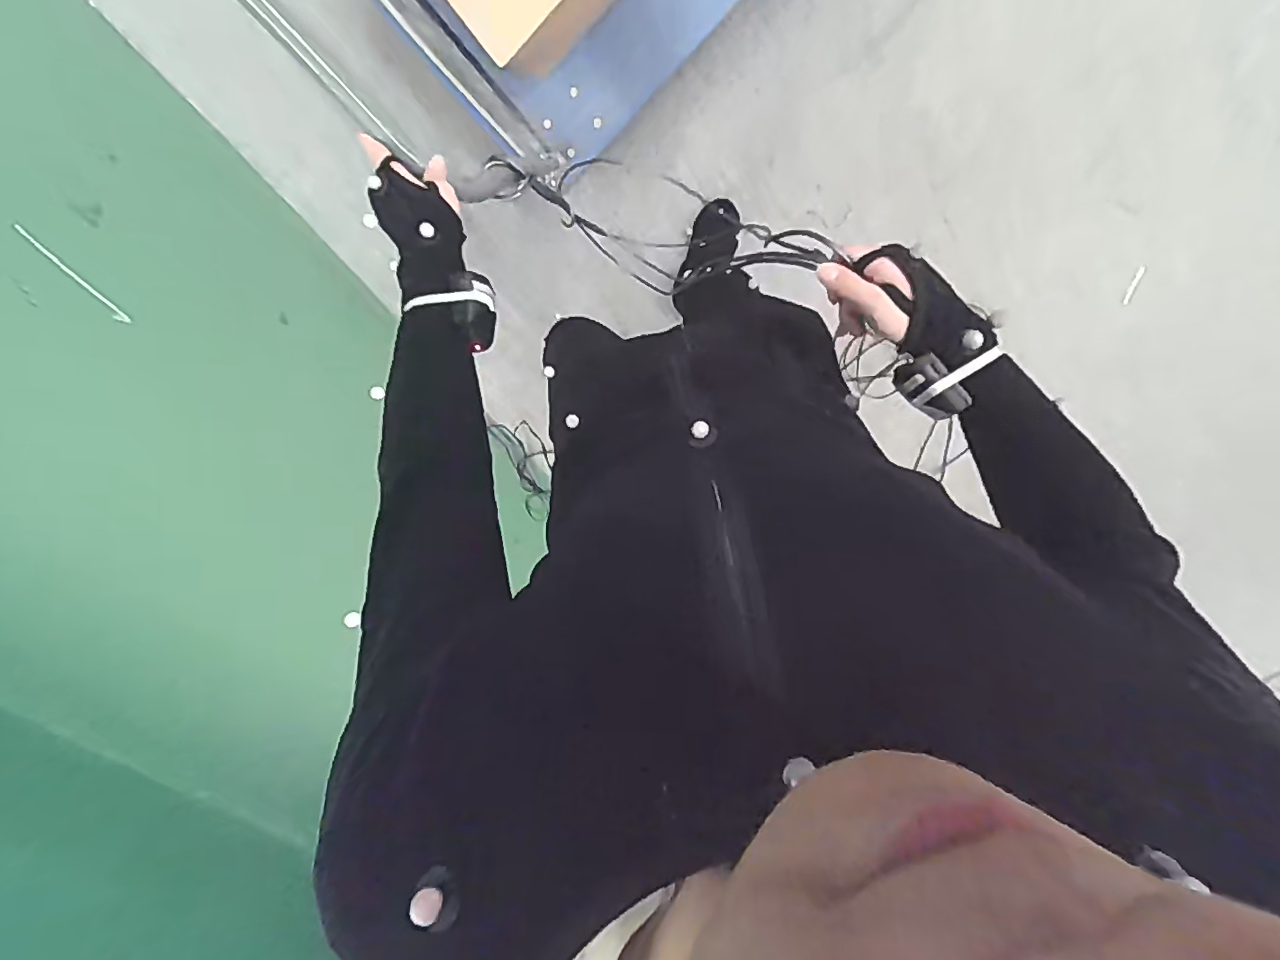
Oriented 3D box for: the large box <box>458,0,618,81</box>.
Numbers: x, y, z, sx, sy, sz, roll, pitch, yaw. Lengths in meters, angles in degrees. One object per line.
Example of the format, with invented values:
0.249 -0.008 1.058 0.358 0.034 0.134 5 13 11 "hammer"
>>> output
-0.142 -0.913 0.817 0.408 0.320 0.320 -33 116 21 "large box"
